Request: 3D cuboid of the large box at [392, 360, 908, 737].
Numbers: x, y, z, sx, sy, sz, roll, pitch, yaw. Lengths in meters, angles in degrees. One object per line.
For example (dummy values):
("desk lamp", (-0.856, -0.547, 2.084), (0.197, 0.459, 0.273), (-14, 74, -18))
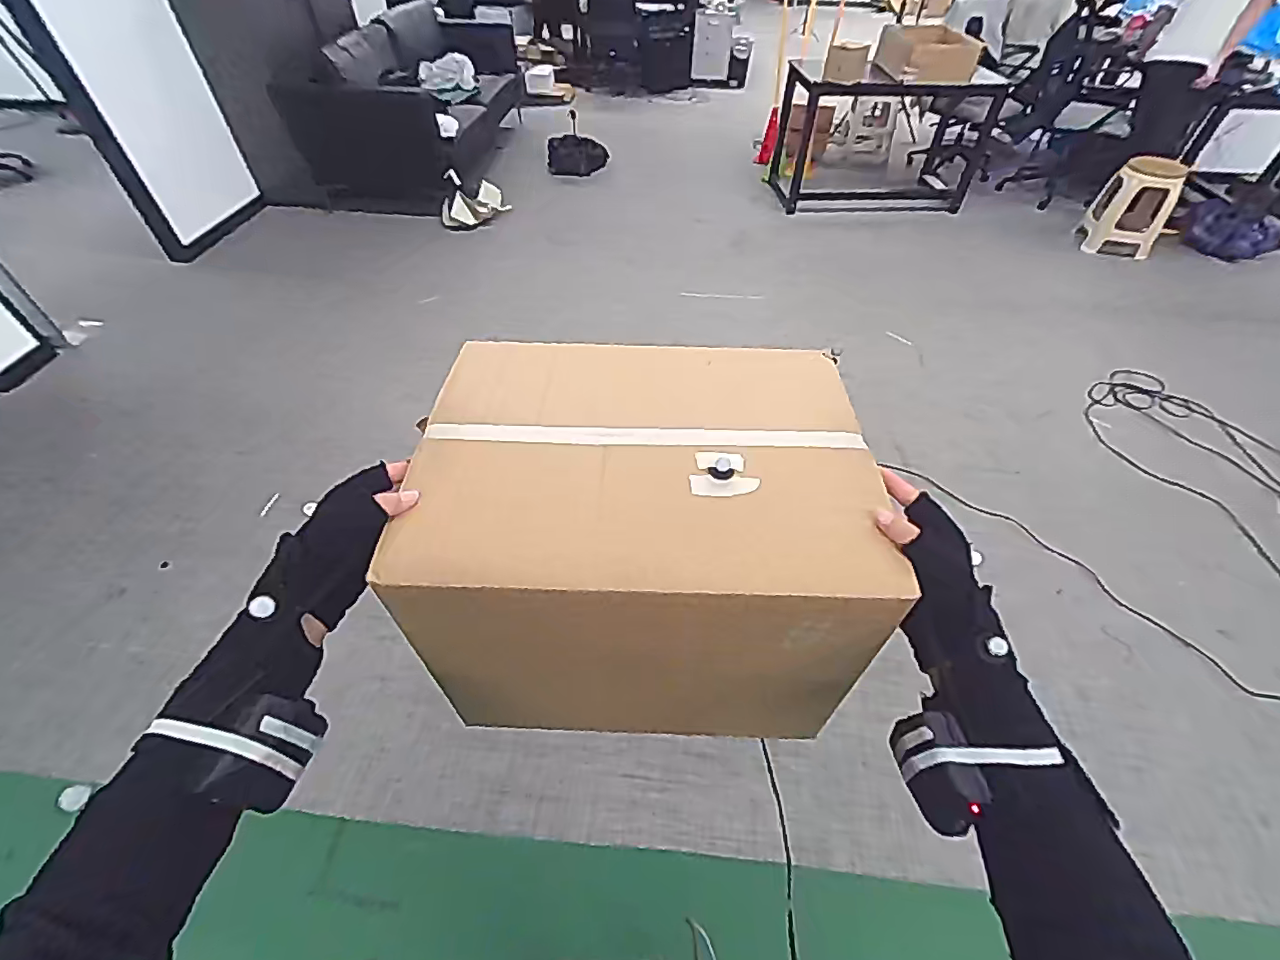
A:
("large box", (0.004, 0.081, 0.617), (0.408, 0.320, 0.320), (2, 47, 0))
